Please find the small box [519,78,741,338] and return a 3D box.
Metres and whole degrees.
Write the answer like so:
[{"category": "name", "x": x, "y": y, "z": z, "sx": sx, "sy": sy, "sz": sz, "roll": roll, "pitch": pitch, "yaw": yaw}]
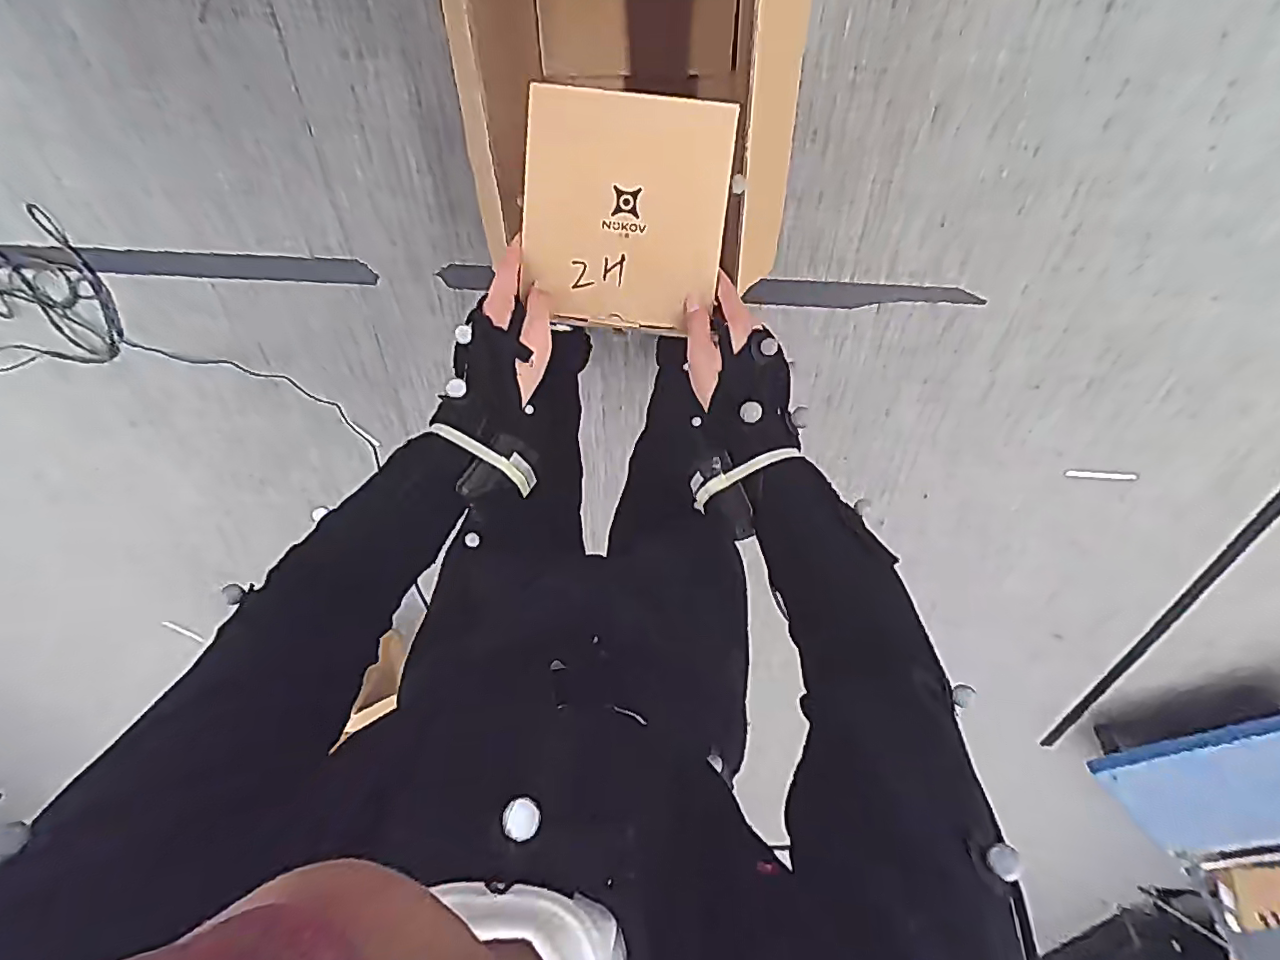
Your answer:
[{"category": "small box", "x": -0.010, "y": -0.234, "z": 0.513, "sx": 0.168, "sy": 0.176, "sz": 0.179, "roll": 6, "pitch": 103, "yaw": 0}]
